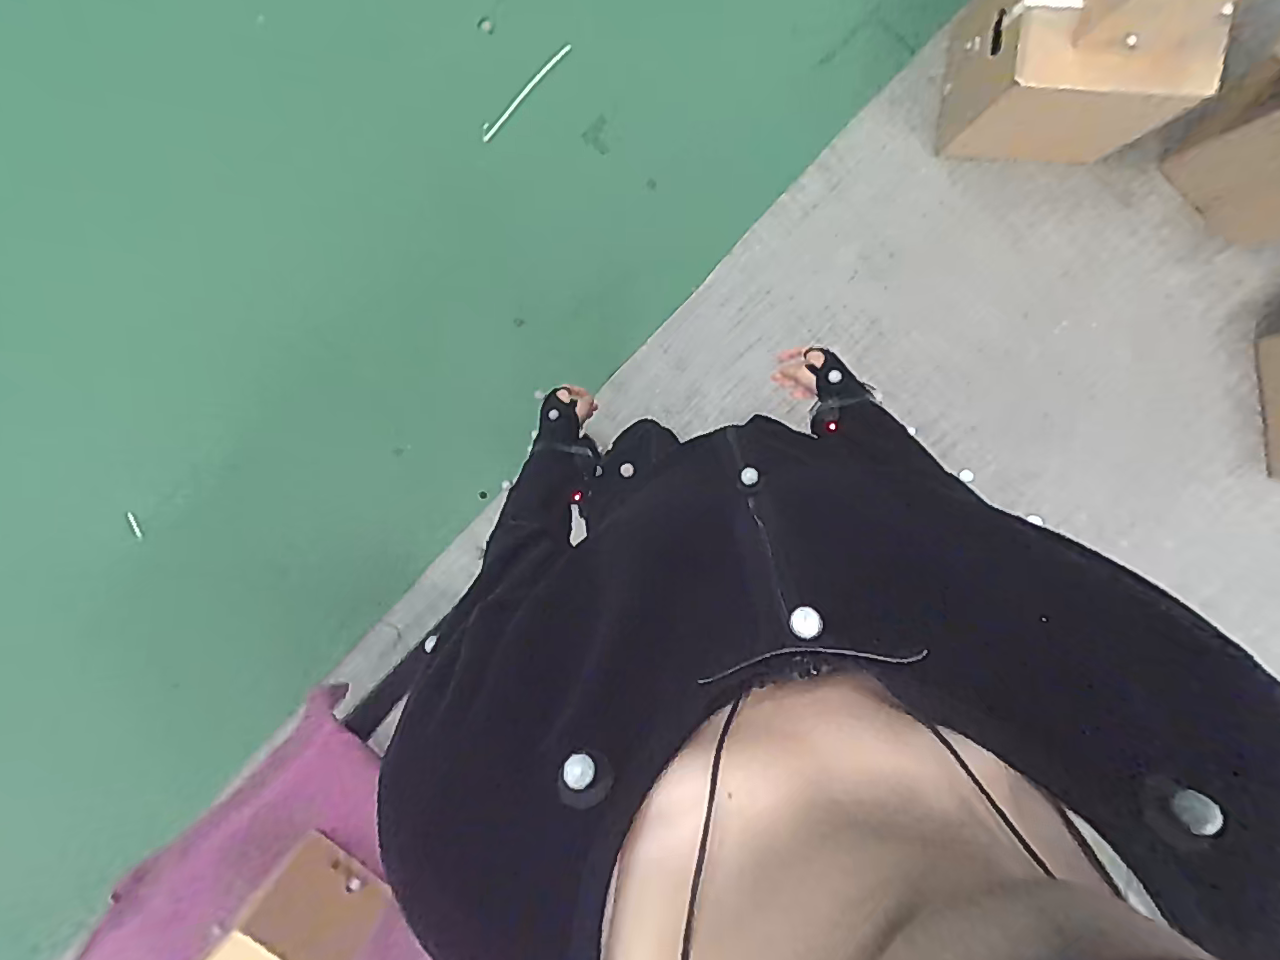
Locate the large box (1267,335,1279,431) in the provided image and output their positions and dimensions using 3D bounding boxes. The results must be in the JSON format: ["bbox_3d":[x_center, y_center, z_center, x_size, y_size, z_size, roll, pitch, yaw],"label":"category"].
[{"bbox_3d":[1.841,-0.208,1.290,0.320,0.320,0.408,-16,98,3],"label":"large box"}]

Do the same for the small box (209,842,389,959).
[{"bbox_3d":[-0.502,0.682,0.776,0.168,0.176,0.179,42,97,-5],"label":"small box"}]

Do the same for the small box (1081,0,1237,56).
[{"bbox_3d":[0.948,-0.917,0.971,0.168,0.176,0.179,7,97,1],"label":"small box"}]
